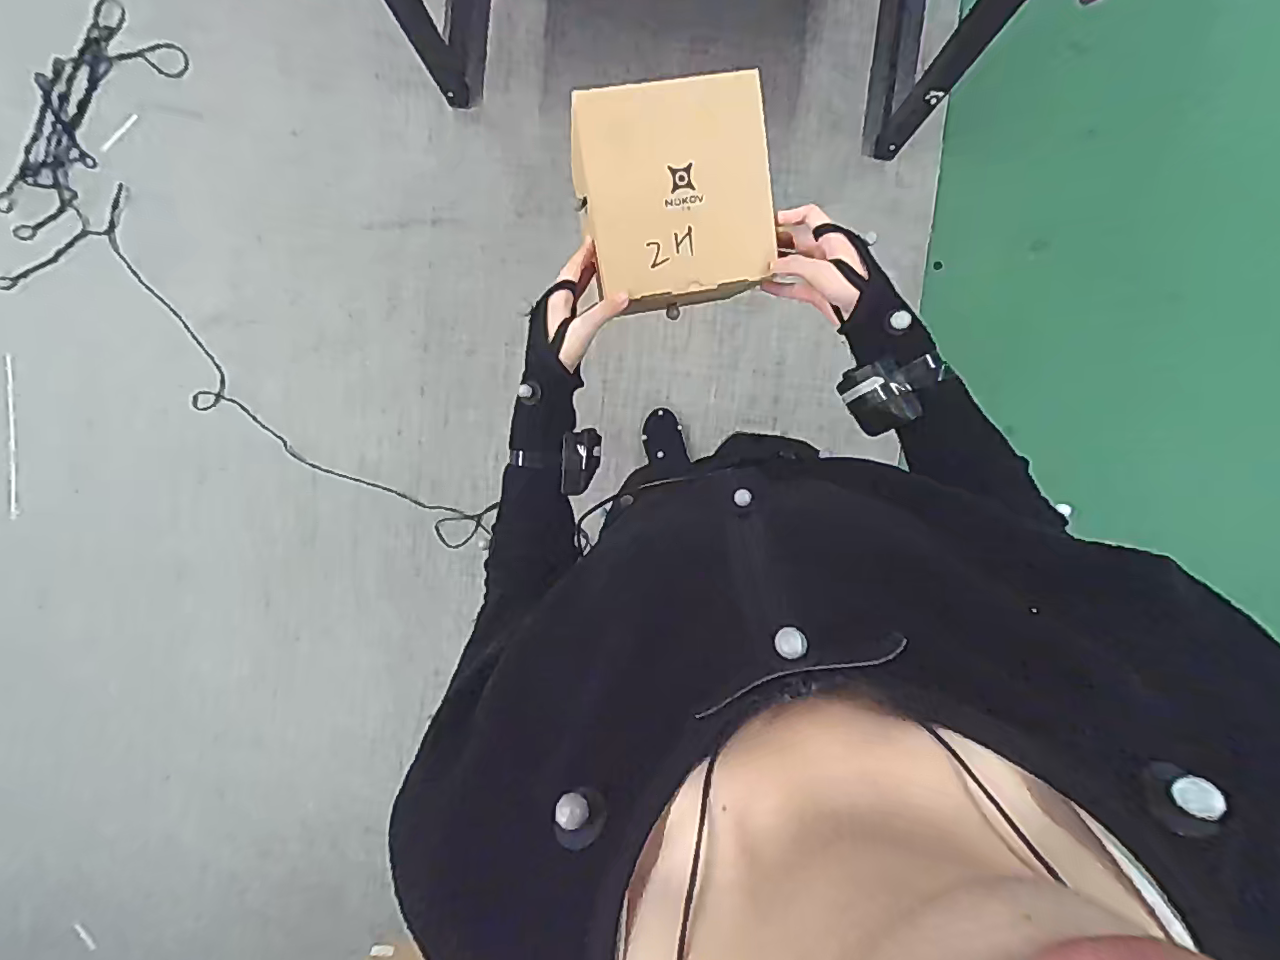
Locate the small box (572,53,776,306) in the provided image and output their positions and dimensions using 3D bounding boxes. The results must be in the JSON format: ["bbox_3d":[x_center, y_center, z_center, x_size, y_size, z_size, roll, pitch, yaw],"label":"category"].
[{"bbox_3d":[0.024,-0.285,0.550,0.168,0.176,0.179,-10,103,-5],"label":"small box"}]
